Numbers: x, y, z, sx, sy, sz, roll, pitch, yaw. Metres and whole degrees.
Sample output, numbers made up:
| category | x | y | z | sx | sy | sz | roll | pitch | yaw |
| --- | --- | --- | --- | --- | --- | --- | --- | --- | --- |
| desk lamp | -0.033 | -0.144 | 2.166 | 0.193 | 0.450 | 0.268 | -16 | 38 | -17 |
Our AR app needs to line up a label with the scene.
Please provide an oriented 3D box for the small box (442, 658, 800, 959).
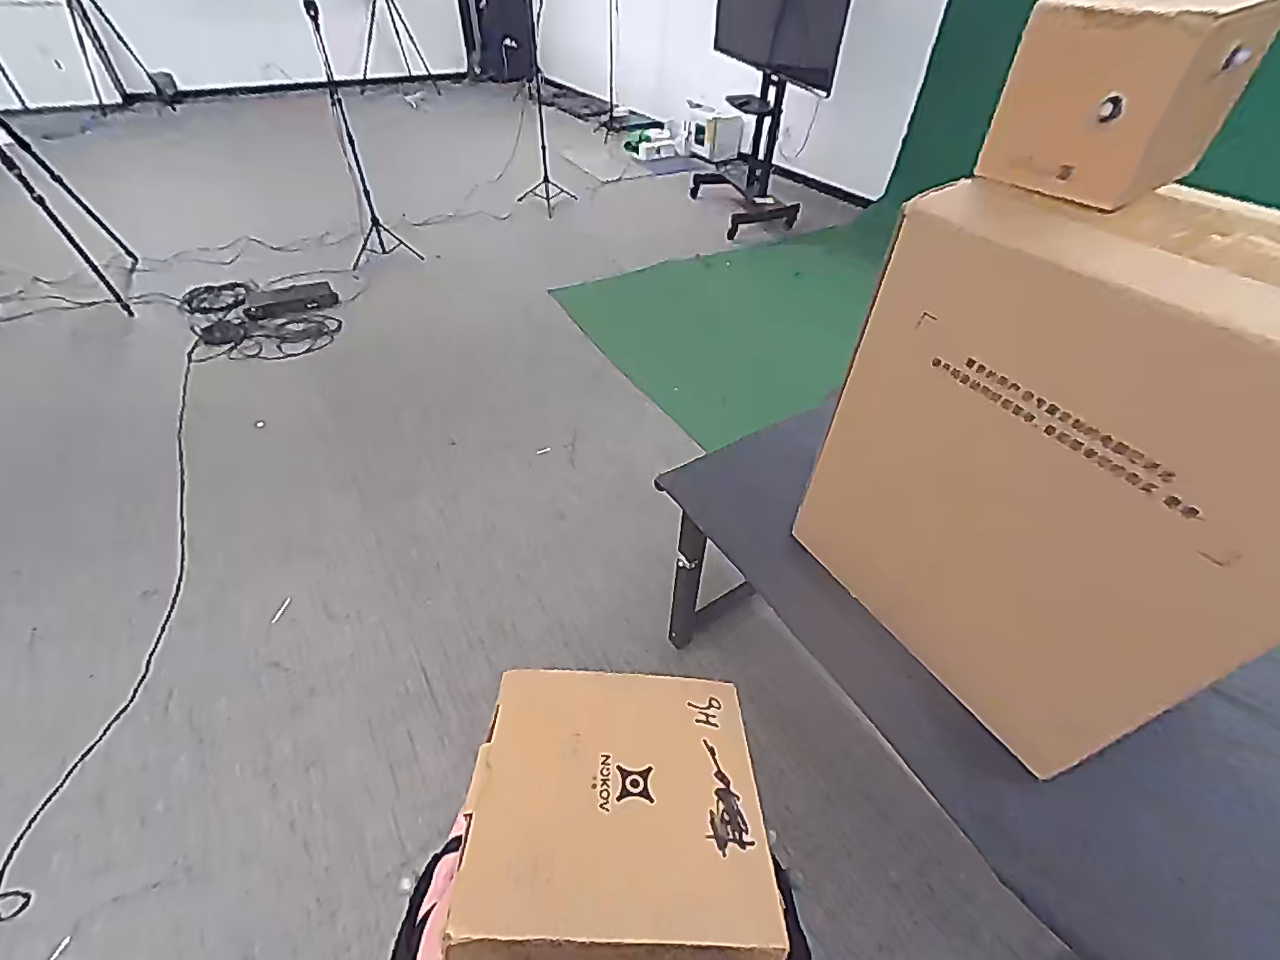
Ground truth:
| category | x | y | z | sx | sy | sz | roll | pitch | yaw |
| --- | --- | --- | --- | --- | --- | --- | --- | --- | --- |
| small box | -0.018 | 0.244 | 0.362 | 0.179 | 0.176 | 0.168 | 5 | 29 | -5 |

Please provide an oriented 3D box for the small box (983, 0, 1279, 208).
| category | x | y | z | sx | sy | sz | roll | pitch | yaw |
| --- | --- | --- | --- | --- | --- | --- | --- | --- | --- |
| small box | 0.532 | -0.428 | 0.612 | 0.179 | 0.176 | 0.168 | -26 | 51 | -22 |
